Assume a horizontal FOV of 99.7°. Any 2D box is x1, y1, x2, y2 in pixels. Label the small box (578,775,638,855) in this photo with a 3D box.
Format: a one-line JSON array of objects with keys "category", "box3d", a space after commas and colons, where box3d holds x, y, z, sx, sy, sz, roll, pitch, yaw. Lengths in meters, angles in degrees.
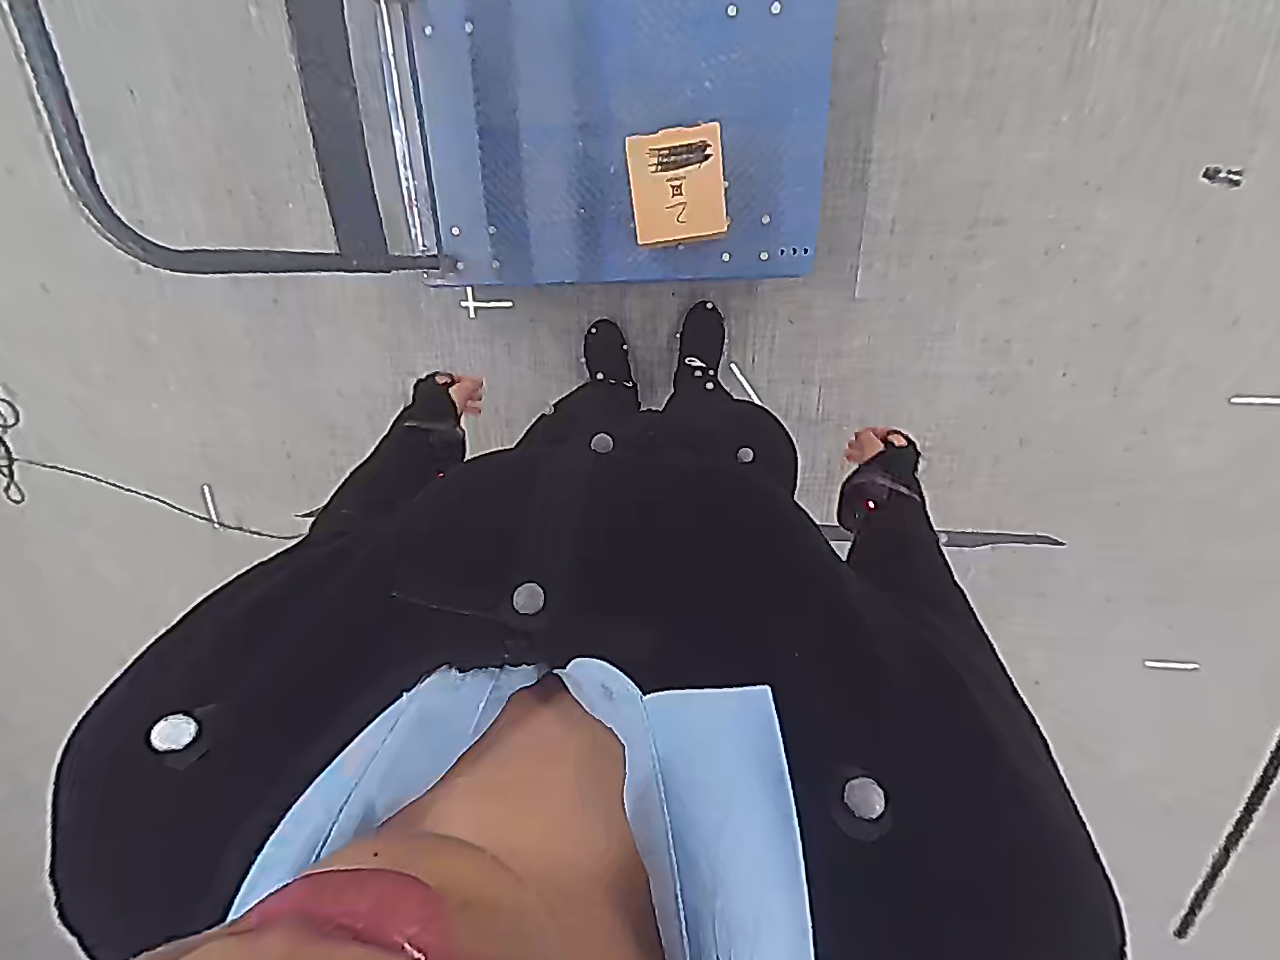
[{"category": "small box", "box3d": [-0.103, 1.158, 1.863, 0.168, 0.176, 0.179, -10, 109, 6]}]
